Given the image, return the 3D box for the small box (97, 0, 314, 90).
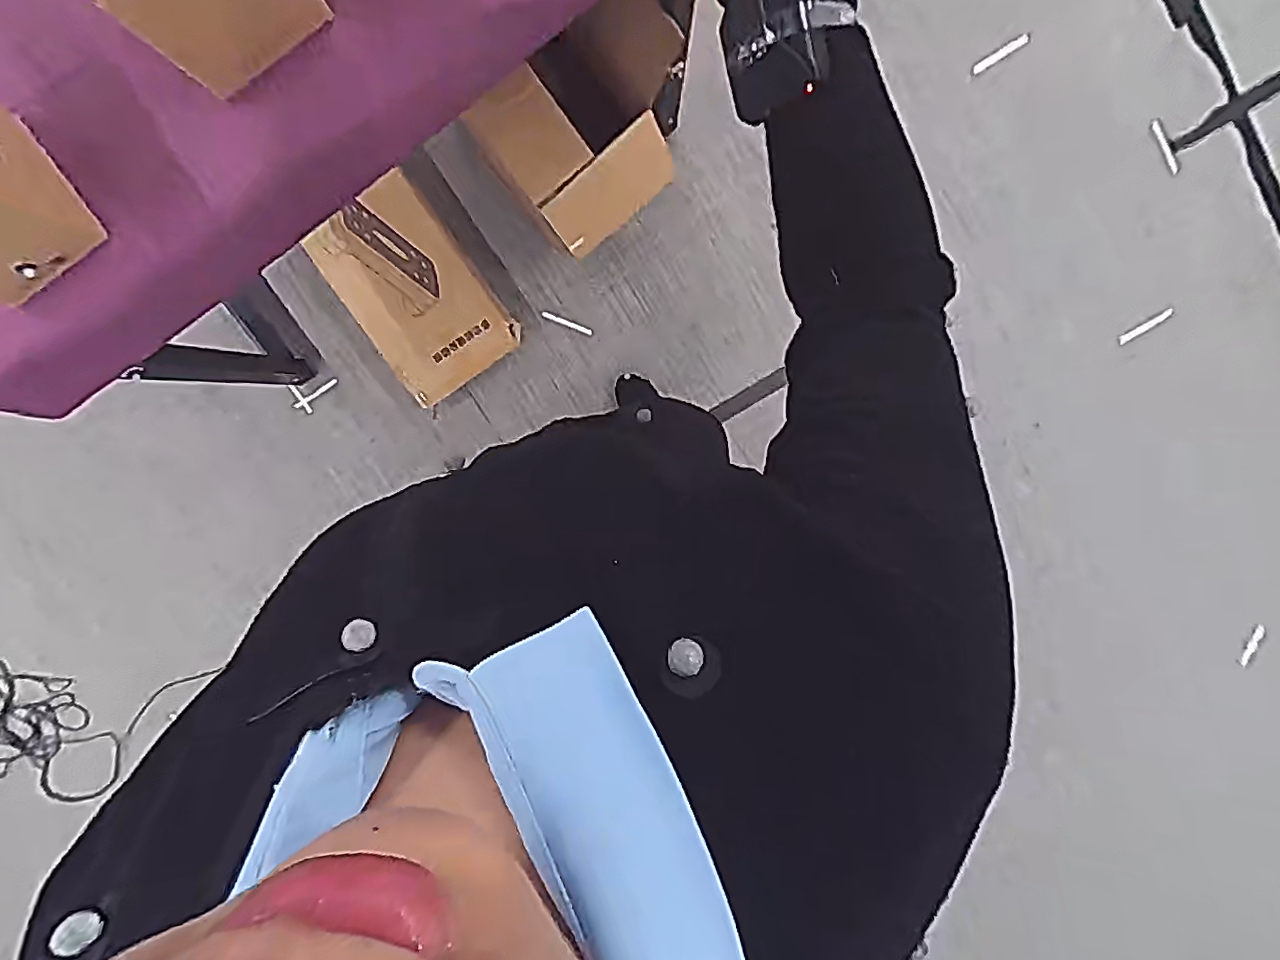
[{"bbox_3d":[-0.486,-0.574,0.569,0.179,0.176,0.168,-34,95,4],"label":"small box"}]
